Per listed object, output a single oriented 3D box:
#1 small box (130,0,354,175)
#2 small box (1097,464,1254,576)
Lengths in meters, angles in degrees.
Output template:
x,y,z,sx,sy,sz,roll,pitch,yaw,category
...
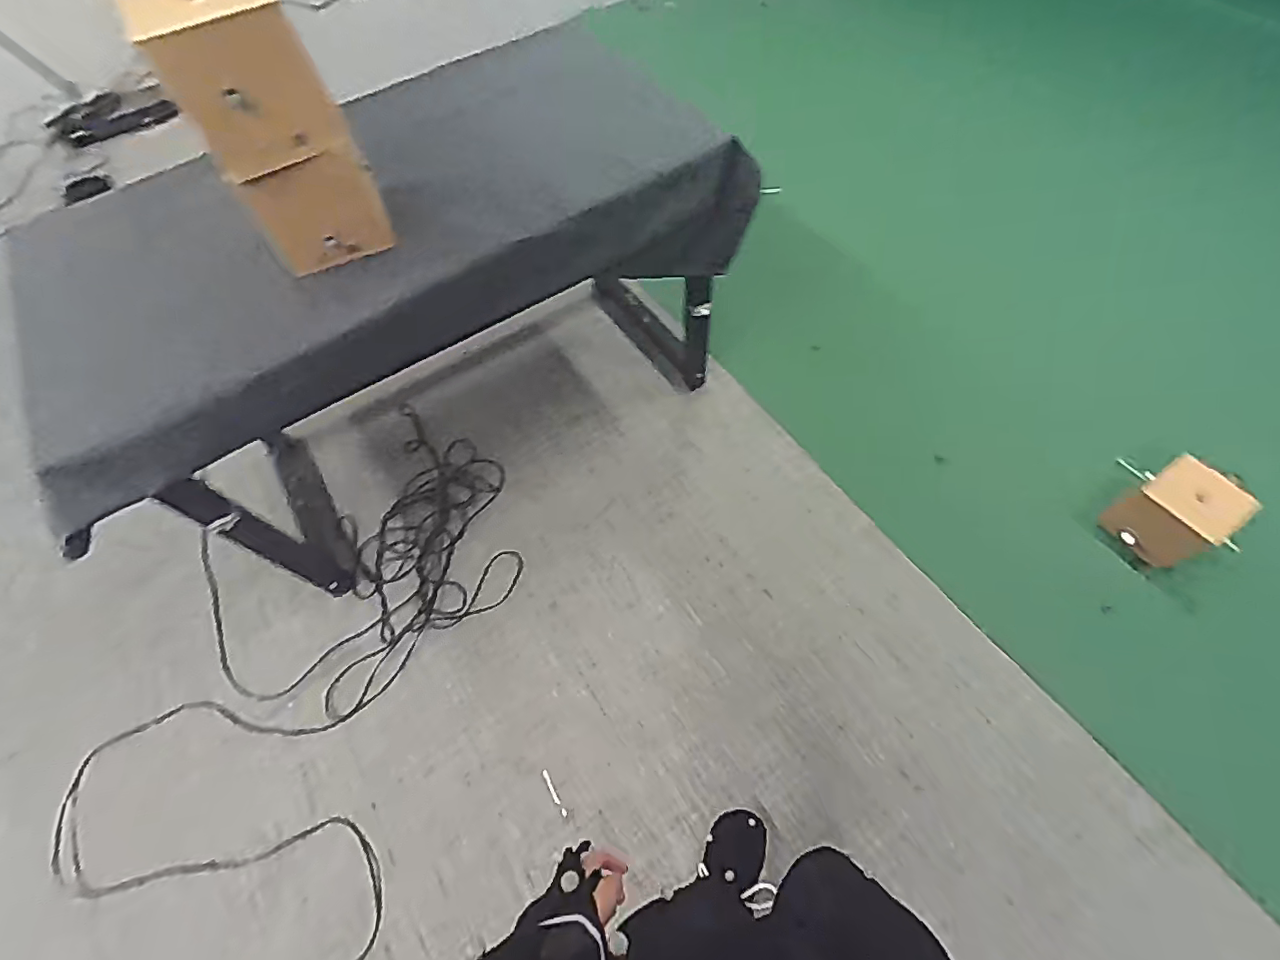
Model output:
x,y,z,sx,sy,sz,roll,pitch,yaw,category
-0.515,-0.539,0.718,0.168,0.176,0.179,-29,63,-12,small box
1.257,0.099,1.287,0.179,0.176,0.168,-32,63,-13,small box
